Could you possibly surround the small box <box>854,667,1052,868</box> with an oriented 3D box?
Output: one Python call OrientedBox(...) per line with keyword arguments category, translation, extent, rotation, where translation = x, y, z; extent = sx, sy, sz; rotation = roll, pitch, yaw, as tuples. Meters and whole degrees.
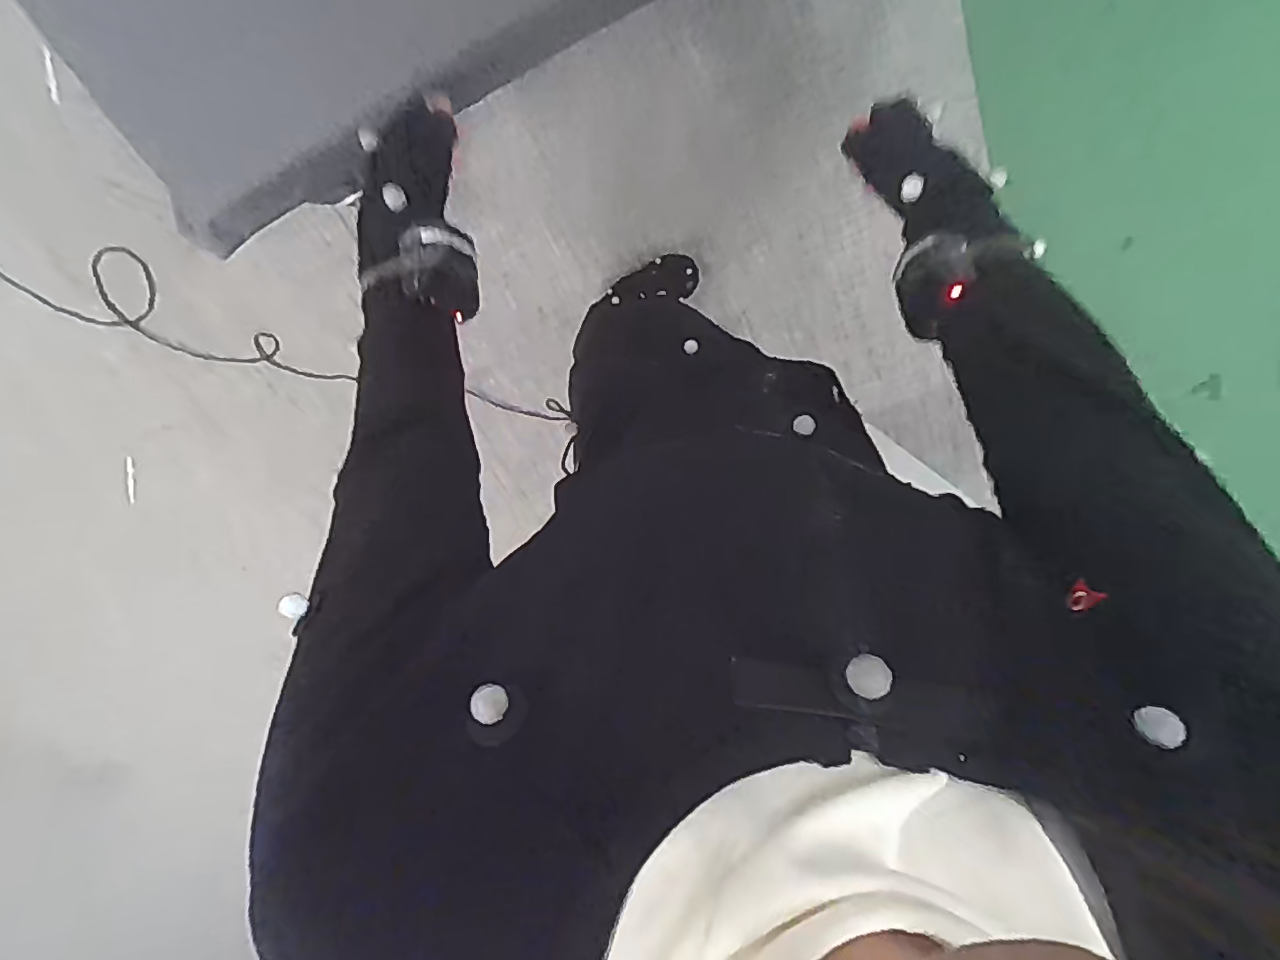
OrientedBox(category="small box", translation=(0.437, 0.405, 0.774), extent=(0.168, 0.176, 0.179), rotation=(-28, 115, 11))
